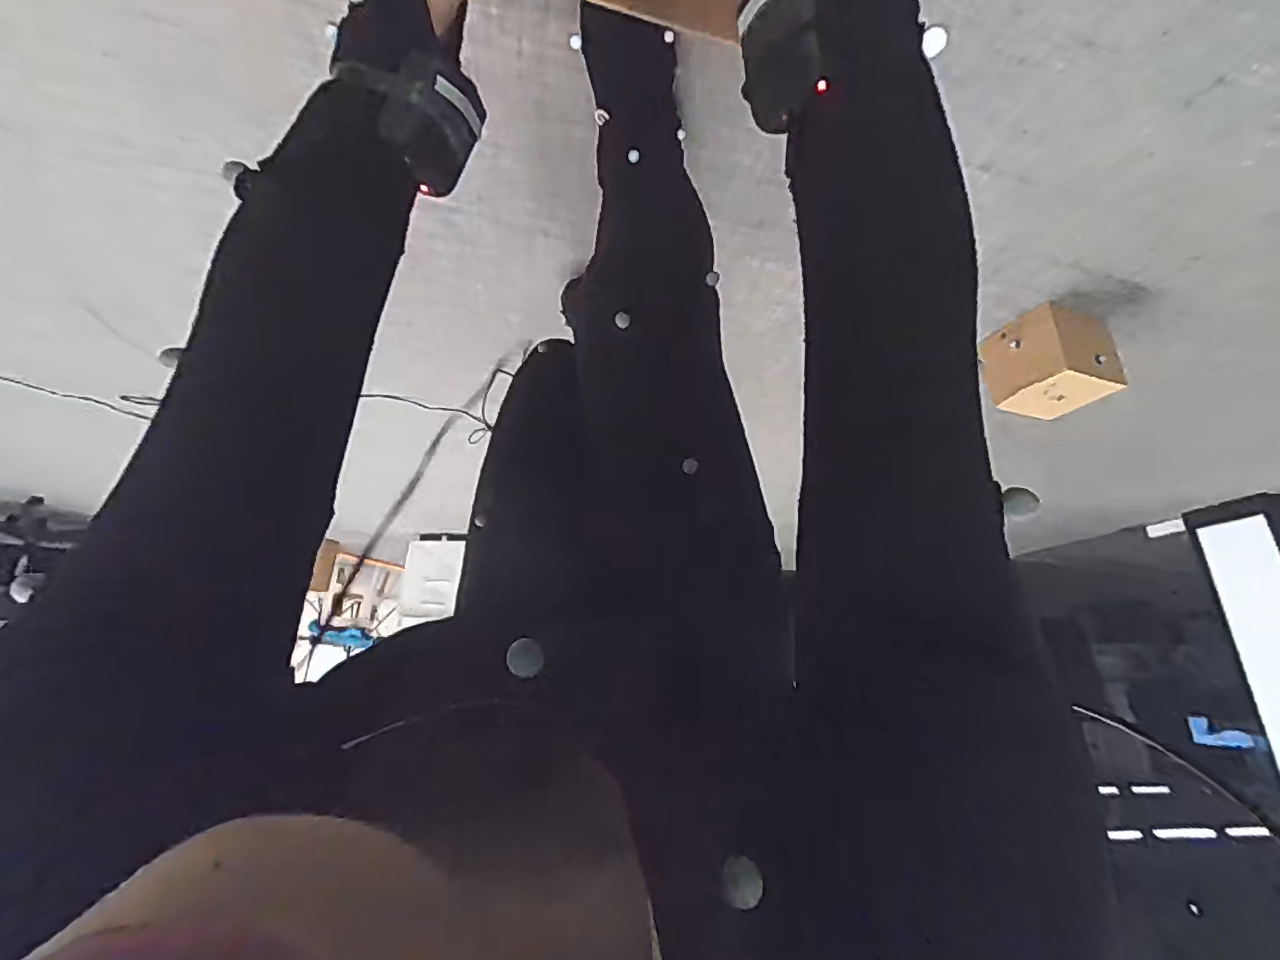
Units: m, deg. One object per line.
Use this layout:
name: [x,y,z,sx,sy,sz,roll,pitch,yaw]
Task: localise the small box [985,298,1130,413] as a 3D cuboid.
small box: [0.891,-0.265,1.167,0.179,0.176,0.168,9,158,-17]
